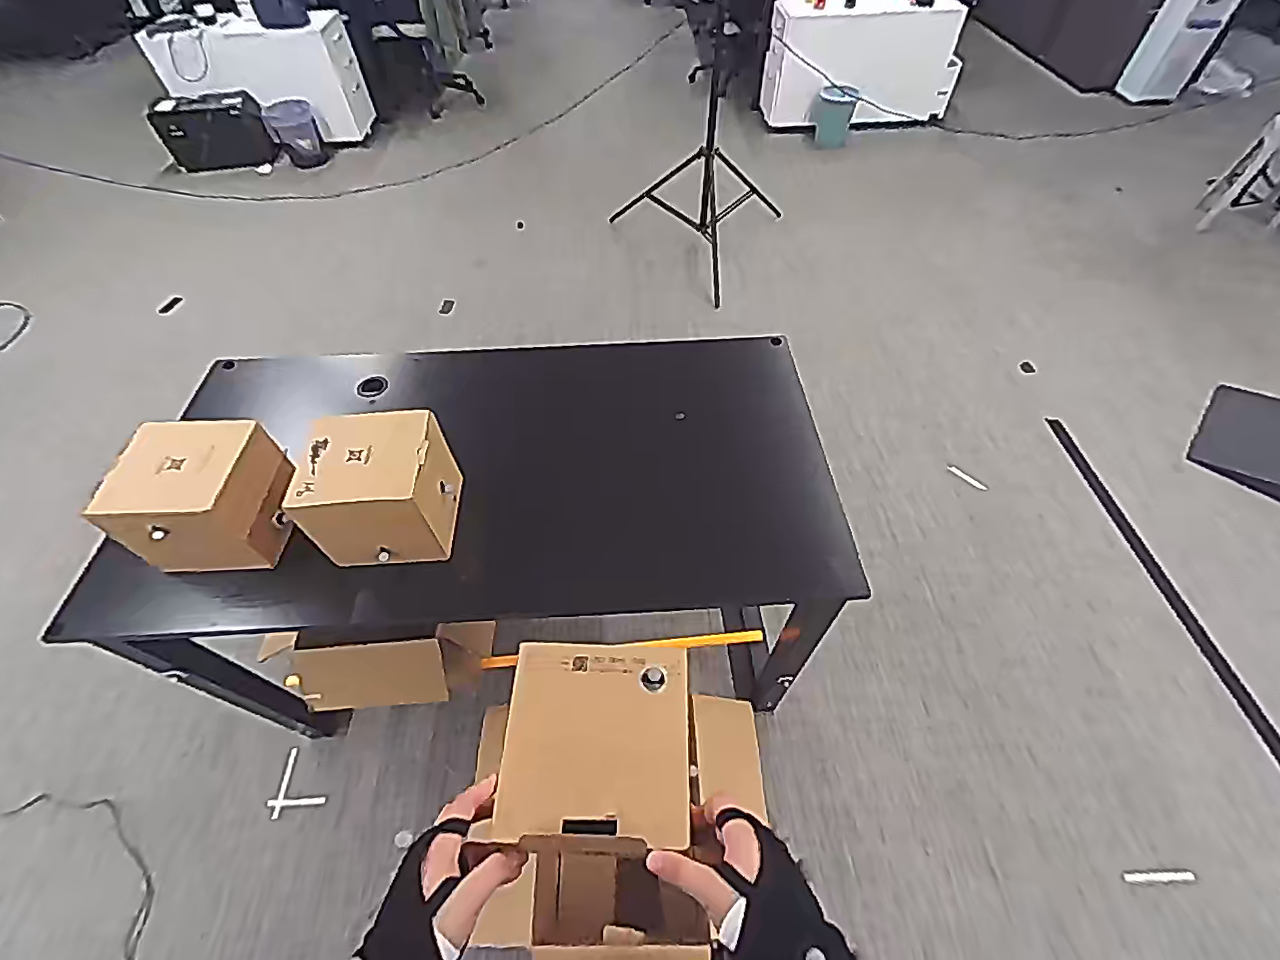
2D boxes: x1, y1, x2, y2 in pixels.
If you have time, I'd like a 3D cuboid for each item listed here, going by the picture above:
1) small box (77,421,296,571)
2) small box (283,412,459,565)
[{"bbox_3d":[-0.651,0.028,0.817,0.179,0.176,0.168,-1,53,-1],"label":"small box"},{"bbox_3d":[-0.388,0.016,0.822,0.179,0.176,0.168,-4,53,-3],"label":"small box"}]
